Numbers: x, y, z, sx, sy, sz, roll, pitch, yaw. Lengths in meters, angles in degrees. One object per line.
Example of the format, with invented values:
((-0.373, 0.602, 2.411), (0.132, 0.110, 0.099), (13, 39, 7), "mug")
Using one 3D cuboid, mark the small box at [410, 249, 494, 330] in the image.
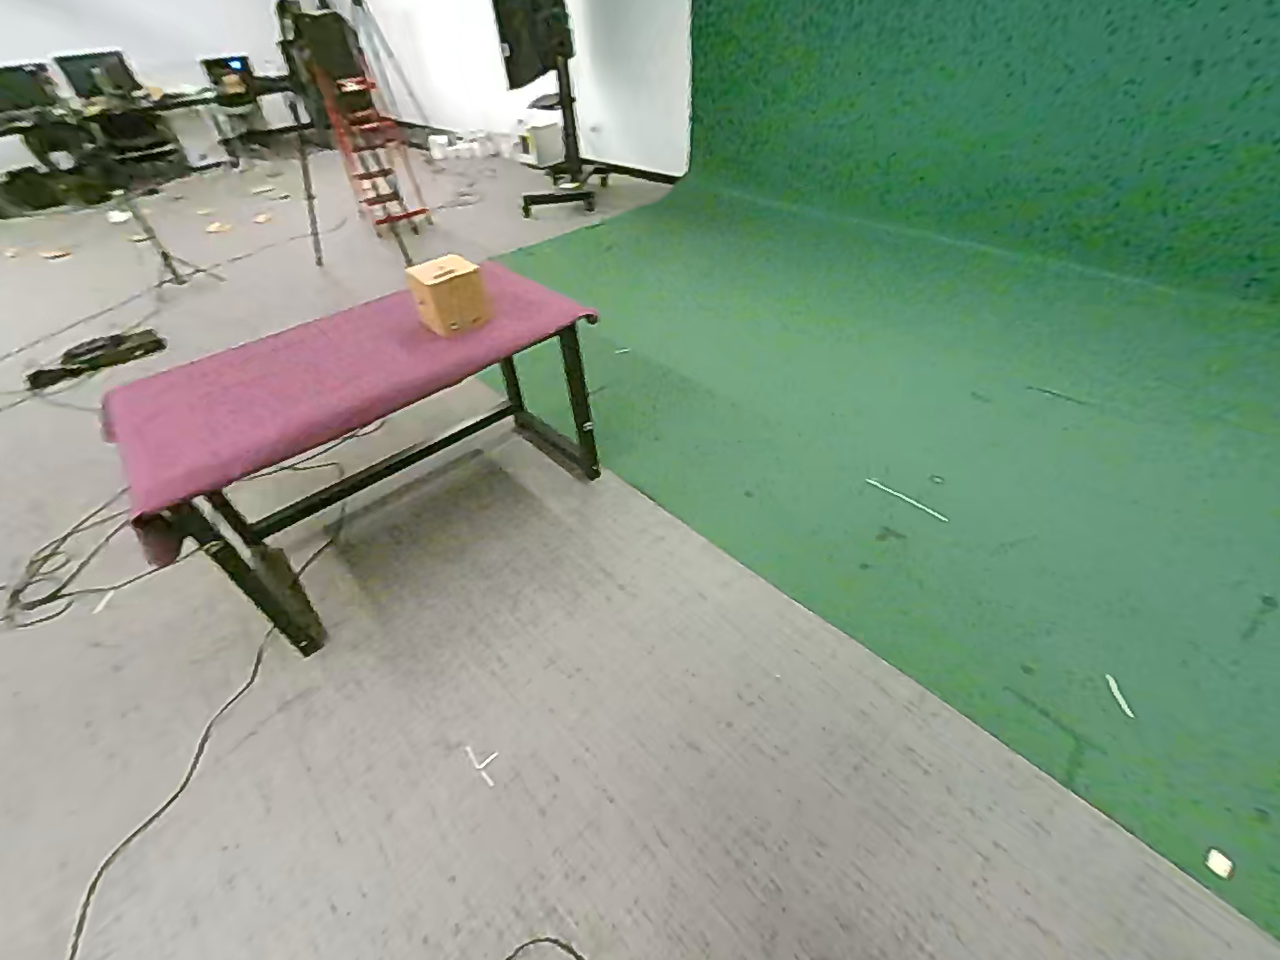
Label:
((-0.562, -0.572, 1.636), (0.168, 0.176, 0.179), (-29, 48, -25), "small box")
